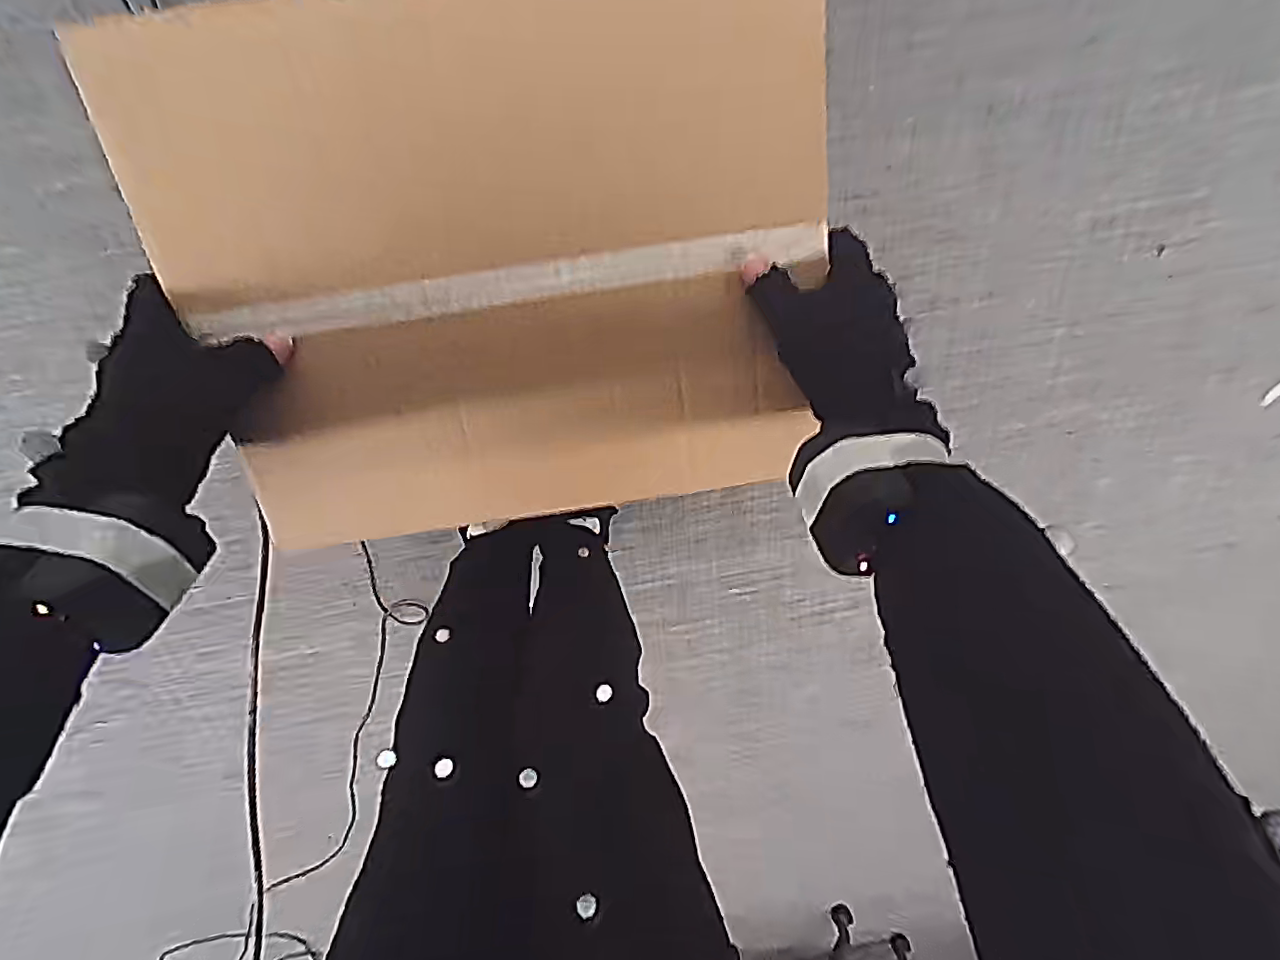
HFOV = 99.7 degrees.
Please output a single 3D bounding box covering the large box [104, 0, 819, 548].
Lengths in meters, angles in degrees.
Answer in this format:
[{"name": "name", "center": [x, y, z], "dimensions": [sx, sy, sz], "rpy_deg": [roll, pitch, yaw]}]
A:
[{"name": "large box", "center": [-0.093, -0.171, 0.490], "dimensions": [0.408, 0.320, 0.320], "rpy_deg": [-8, 113, -1]}]
